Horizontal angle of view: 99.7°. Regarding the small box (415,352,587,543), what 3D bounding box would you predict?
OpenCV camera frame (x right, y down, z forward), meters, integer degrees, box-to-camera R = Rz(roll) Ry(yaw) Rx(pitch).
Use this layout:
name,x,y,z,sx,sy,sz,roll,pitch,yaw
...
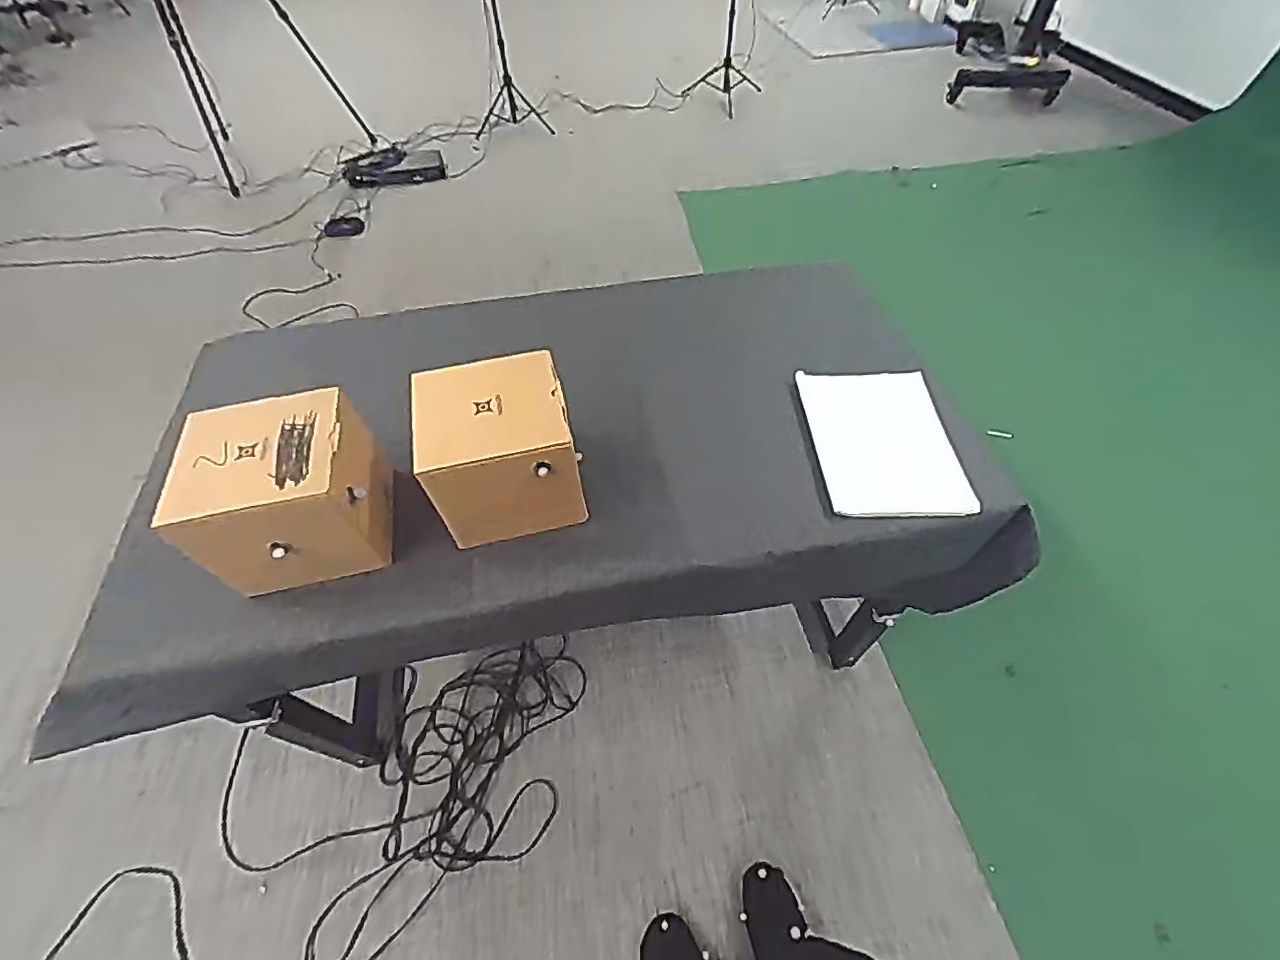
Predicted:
name,x,y,z,sx,sy,sz,roll,pitch,yaw
small box,-0.176,-0.037,0.705,0.179,0.176,0.168,-12,54,-9
